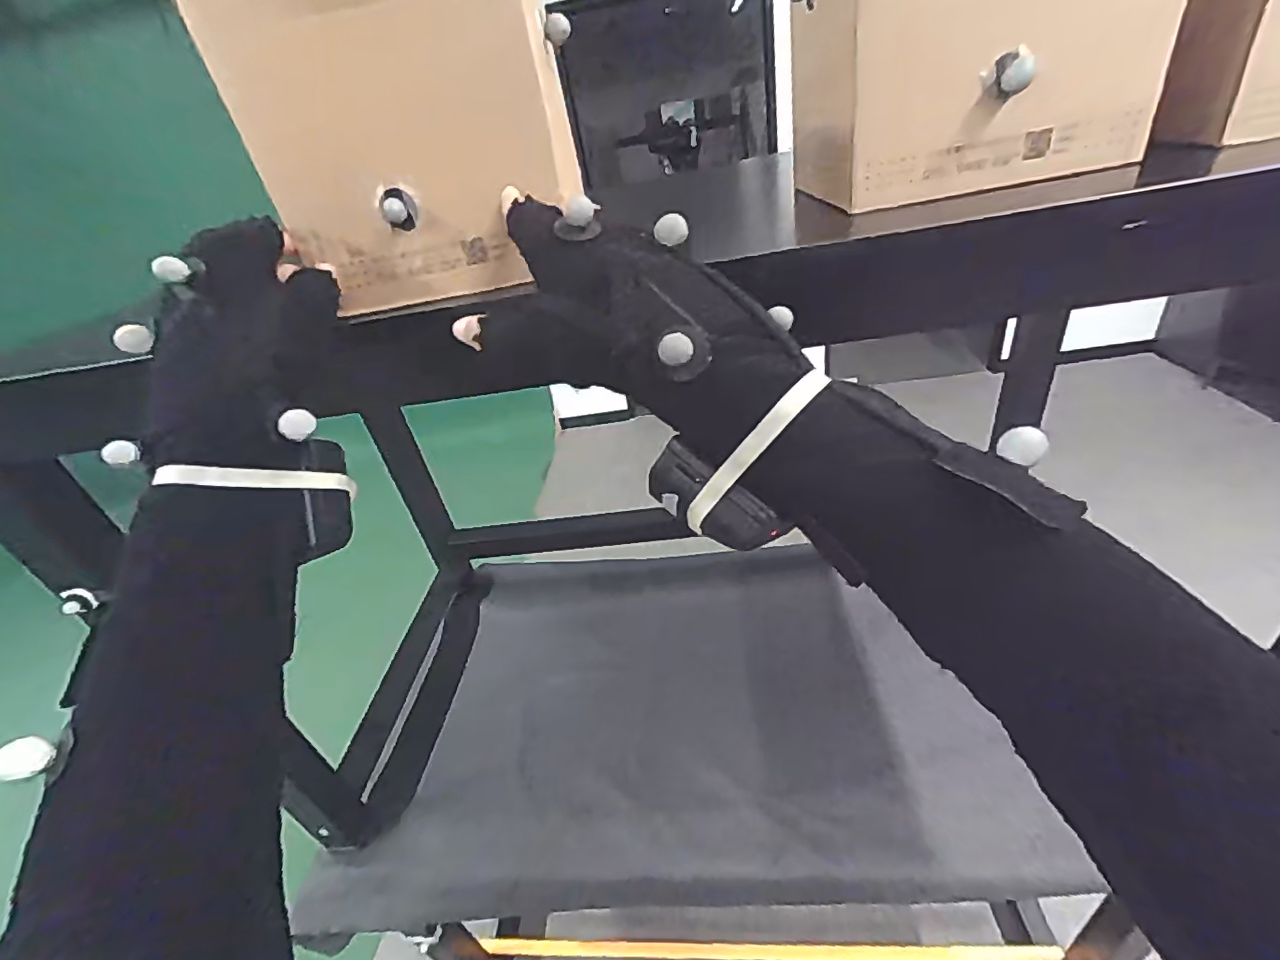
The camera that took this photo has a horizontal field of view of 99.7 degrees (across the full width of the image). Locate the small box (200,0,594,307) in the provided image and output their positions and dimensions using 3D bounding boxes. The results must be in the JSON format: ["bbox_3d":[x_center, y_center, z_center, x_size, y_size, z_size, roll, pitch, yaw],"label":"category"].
[{"bbox_3d":[-0.130,-0.229,0.366,0.168,0.176,0.179,-10,32,3],"label":"small box"}]

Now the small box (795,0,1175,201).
[{"bbox_3d":[0.198,-0.291,0.352,0.168,0.176,0.179,-7,32,7],"label":"small box"}]
